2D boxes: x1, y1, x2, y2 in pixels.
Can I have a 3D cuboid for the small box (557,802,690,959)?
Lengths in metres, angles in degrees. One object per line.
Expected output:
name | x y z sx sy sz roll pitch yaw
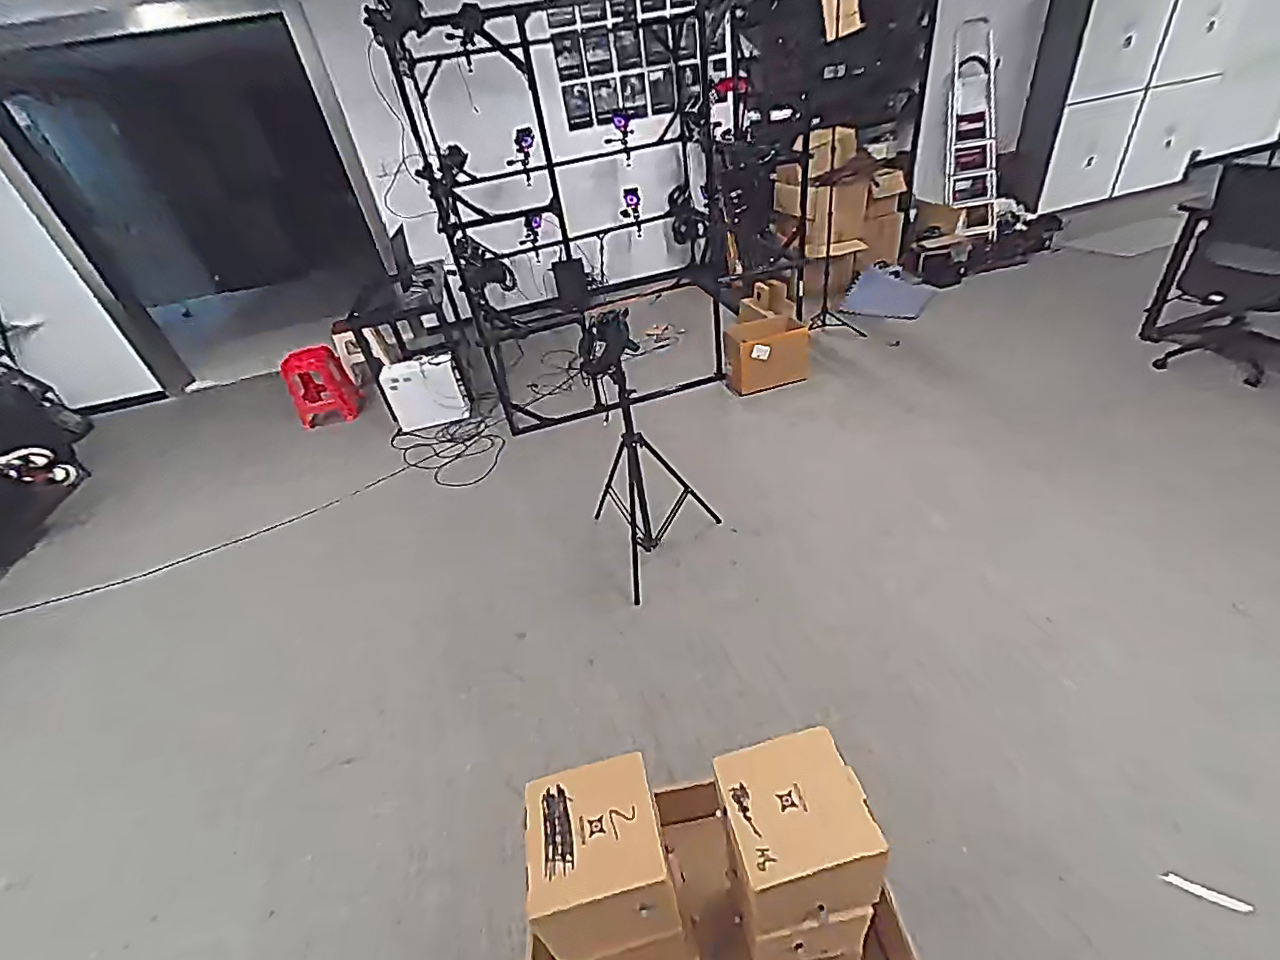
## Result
small box | -0.027 0.655 0.851 0.168 0.176 0.179 -15 36 -5

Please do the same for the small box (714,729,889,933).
small box | 0.211 0.484 0.749 0.179 0.176 0.168 -13 34 -4

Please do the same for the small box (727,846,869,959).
small box | 0.234 0.618 0.842 0.168 0.176 0.179 -12 35 -2

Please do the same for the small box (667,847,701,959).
small box | 0.005 0.786 0.946 0.179 0.176 0.168 -12 36 -4
